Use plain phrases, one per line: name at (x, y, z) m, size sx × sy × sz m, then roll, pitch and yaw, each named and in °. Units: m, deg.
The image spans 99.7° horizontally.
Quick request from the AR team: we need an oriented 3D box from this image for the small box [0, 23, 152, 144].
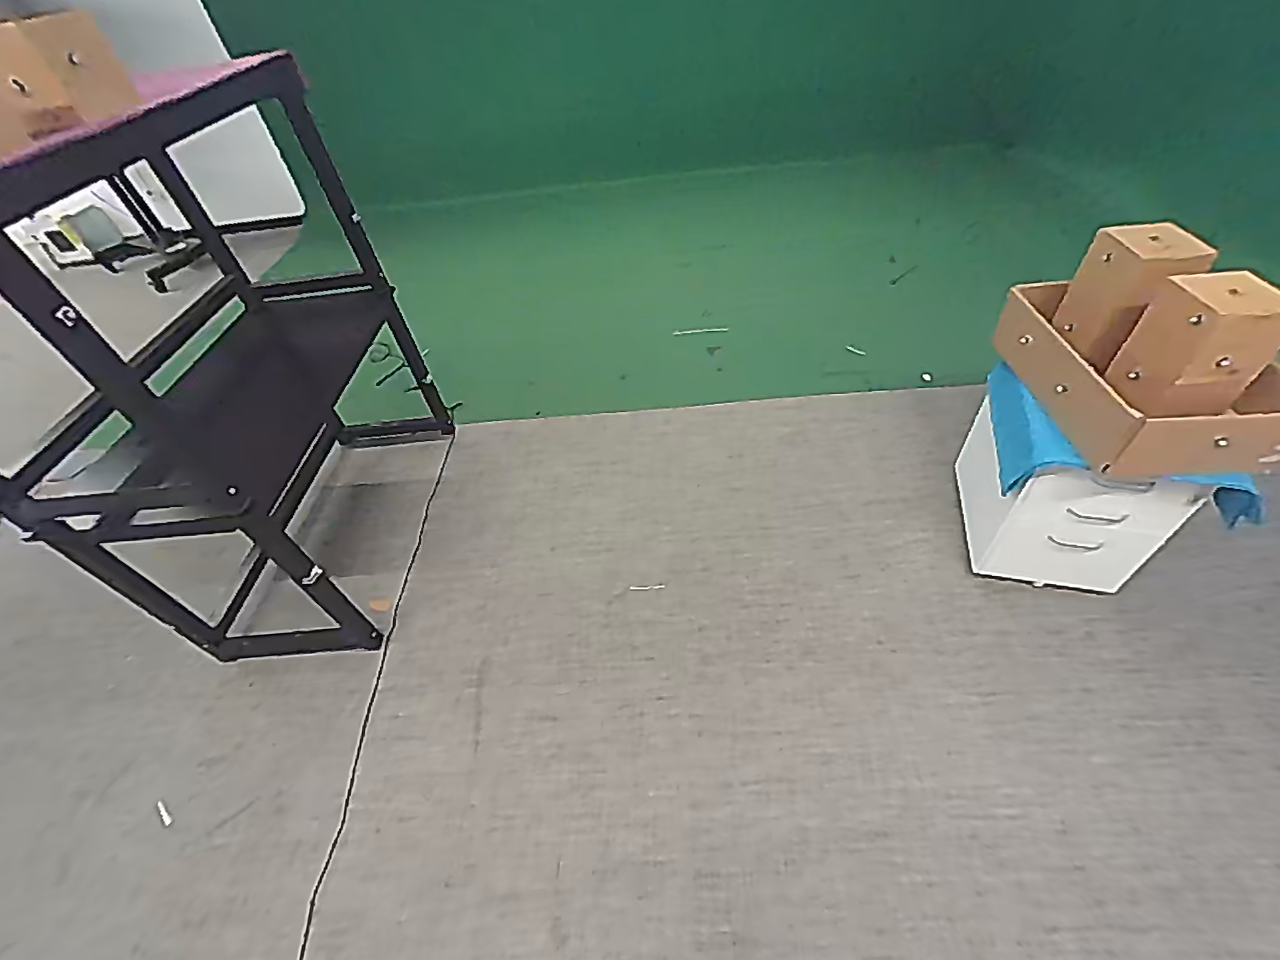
small box at (-1.191, -0.817, 1.124) m, size 0.168 × 0.176 × 0.179 m, roll -3°, pitch 46°, yaw 8°
